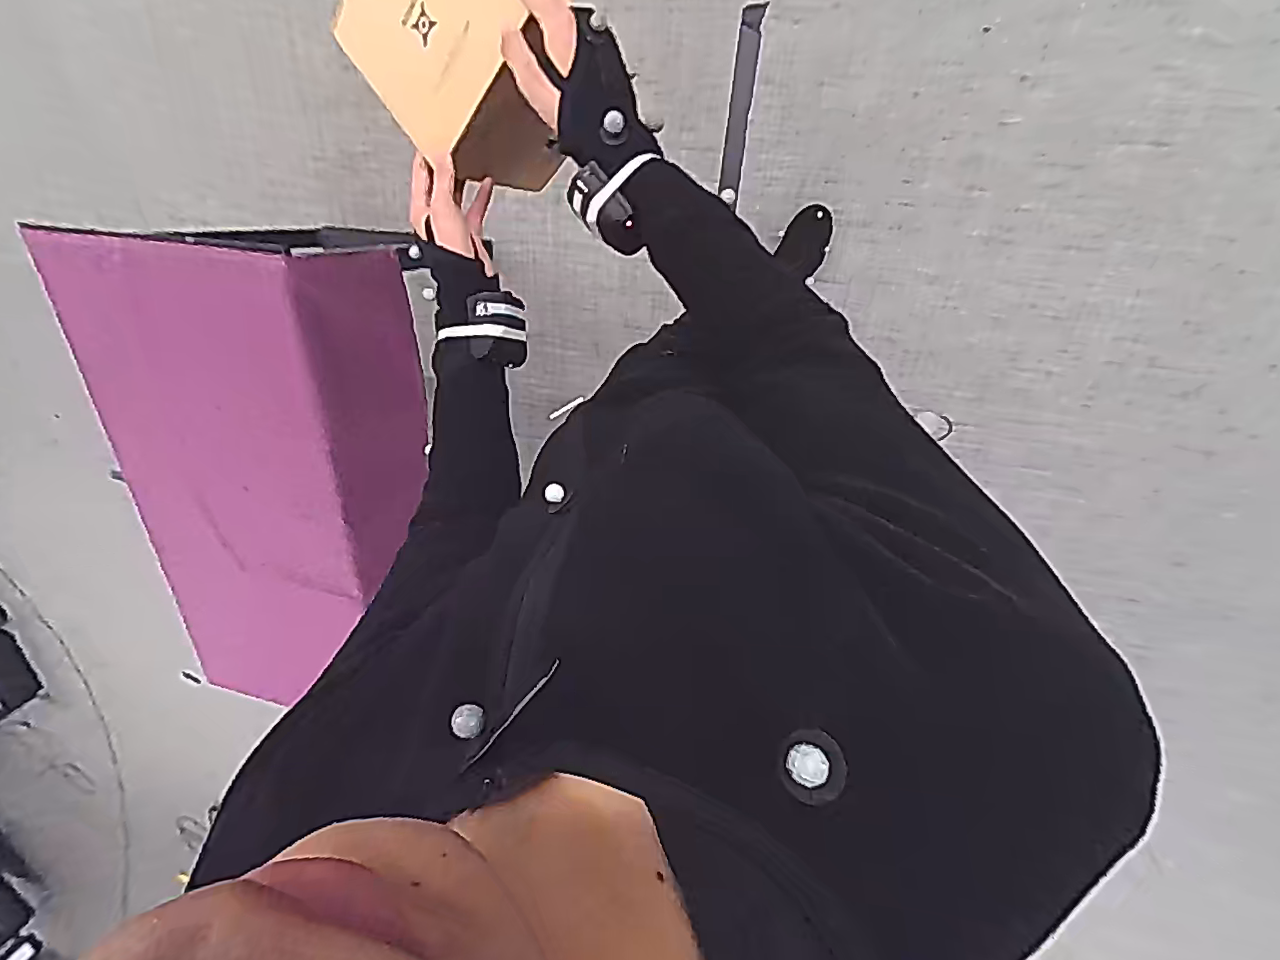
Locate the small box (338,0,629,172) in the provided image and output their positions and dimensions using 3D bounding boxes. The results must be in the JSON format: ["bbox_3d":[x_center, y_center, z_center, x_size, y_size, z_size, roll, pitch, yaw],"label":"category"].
[{"bbox_3d":[-0.145,-0.438,0.531,0.168,0.176,0.179,-34,91,35],"label":"small box"}]
